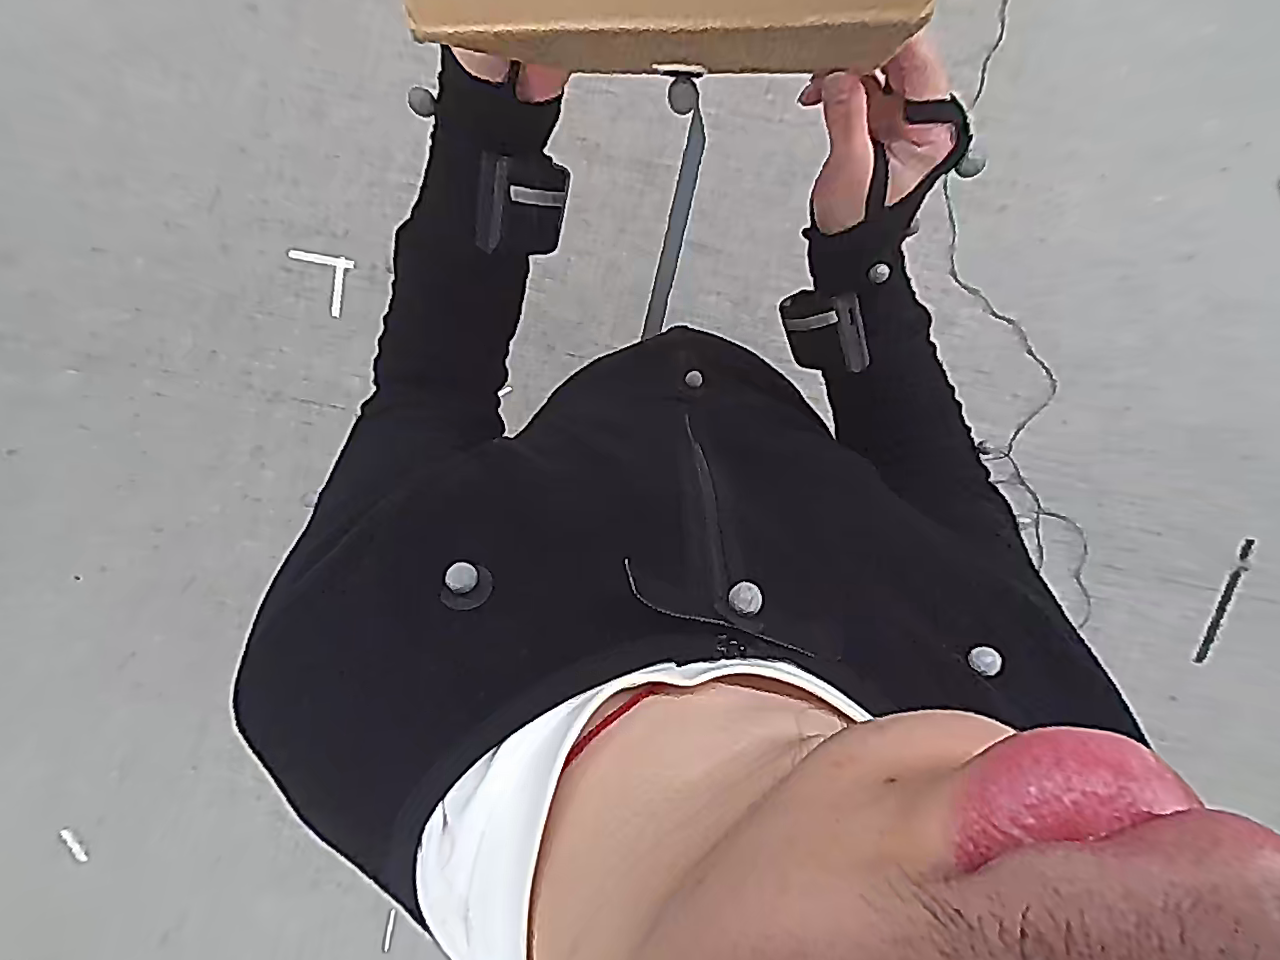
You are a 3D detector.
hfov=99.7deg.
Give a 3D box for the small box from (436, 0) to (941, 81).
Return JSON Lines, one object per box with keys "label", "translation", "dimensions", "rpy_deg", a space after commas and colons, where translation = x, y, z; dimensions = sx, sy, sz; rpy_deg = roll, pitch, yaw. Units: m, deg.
{"label": "small box", "translation": [0.029, -0.261, 0.195], "dimensions": [0.168, 0.176, 0.179], "rpy_deg": [8, 124, 13]}
